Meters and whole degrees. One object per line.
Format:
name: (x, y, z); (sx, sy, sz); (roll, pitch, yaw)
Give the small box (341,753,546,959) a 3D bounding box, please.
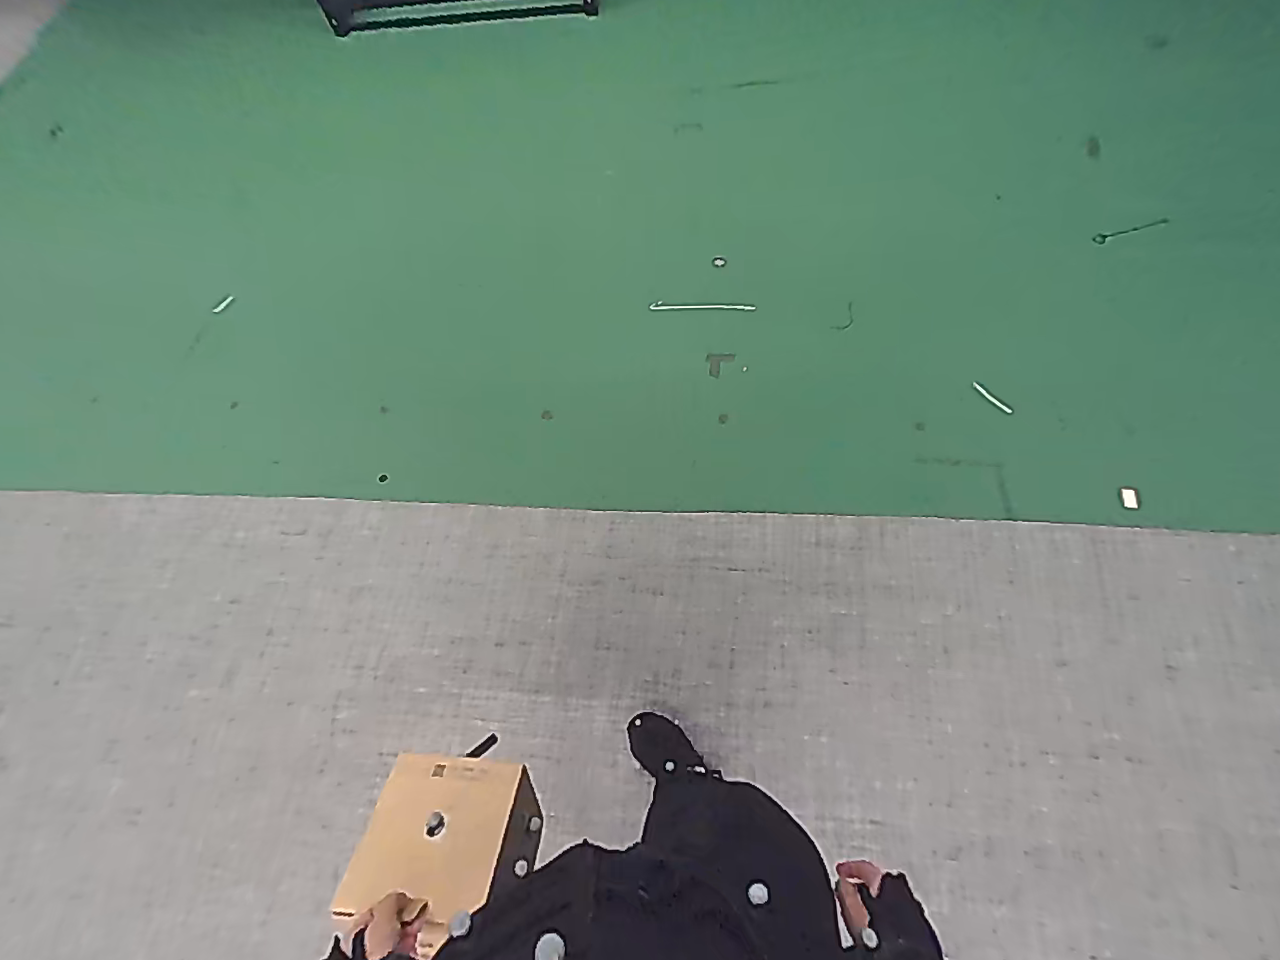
small box: (-0.223, 0.461, 0.670); (0.168, 0.179, 0.176); (1, 40, 6)
